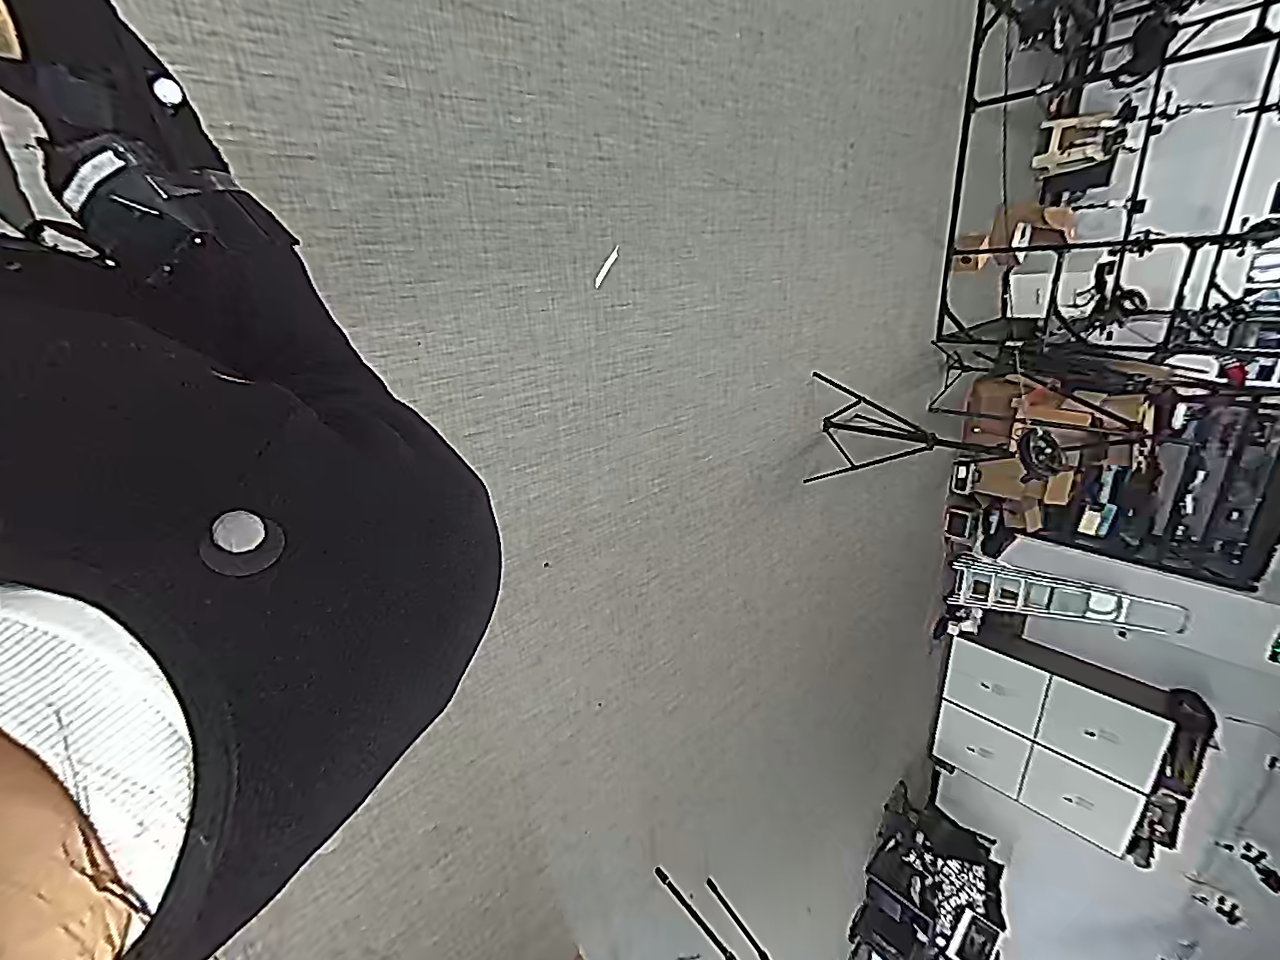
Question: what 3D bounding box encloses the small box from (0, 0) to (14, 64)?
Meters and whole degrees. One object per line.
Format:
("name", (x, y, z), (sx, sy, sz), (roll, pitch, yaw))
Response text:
("small box", (-0.328, -0.244, 0.145), (0.176, 0.168, 0.179), (-19, 127, -40))
